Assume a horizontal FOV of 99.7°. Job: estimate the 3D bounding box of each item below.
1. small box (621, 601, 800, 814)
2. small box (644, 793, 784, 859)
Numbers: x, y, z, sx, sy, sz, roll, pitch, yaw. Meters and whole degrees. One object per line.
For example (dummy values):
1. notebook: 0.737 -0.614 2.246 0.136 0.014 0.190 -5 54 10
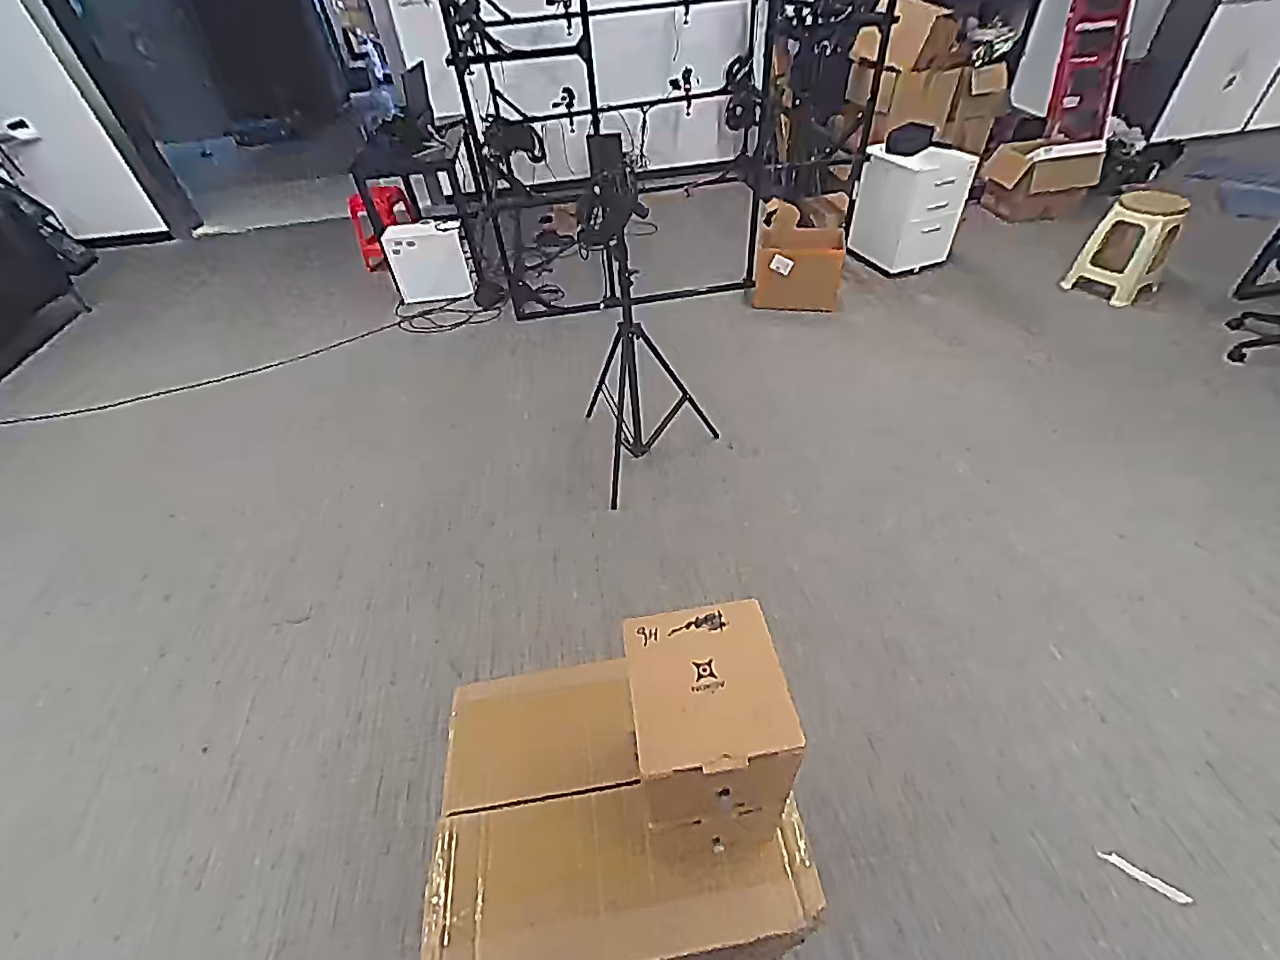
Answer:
1. small box: 0.075 0.272 0.638 0.168 0.176 0.179 -9 45 -2
2. small box: 0.084 0.393 0.749 0.168 0.176 0.179 -10 45 -3
